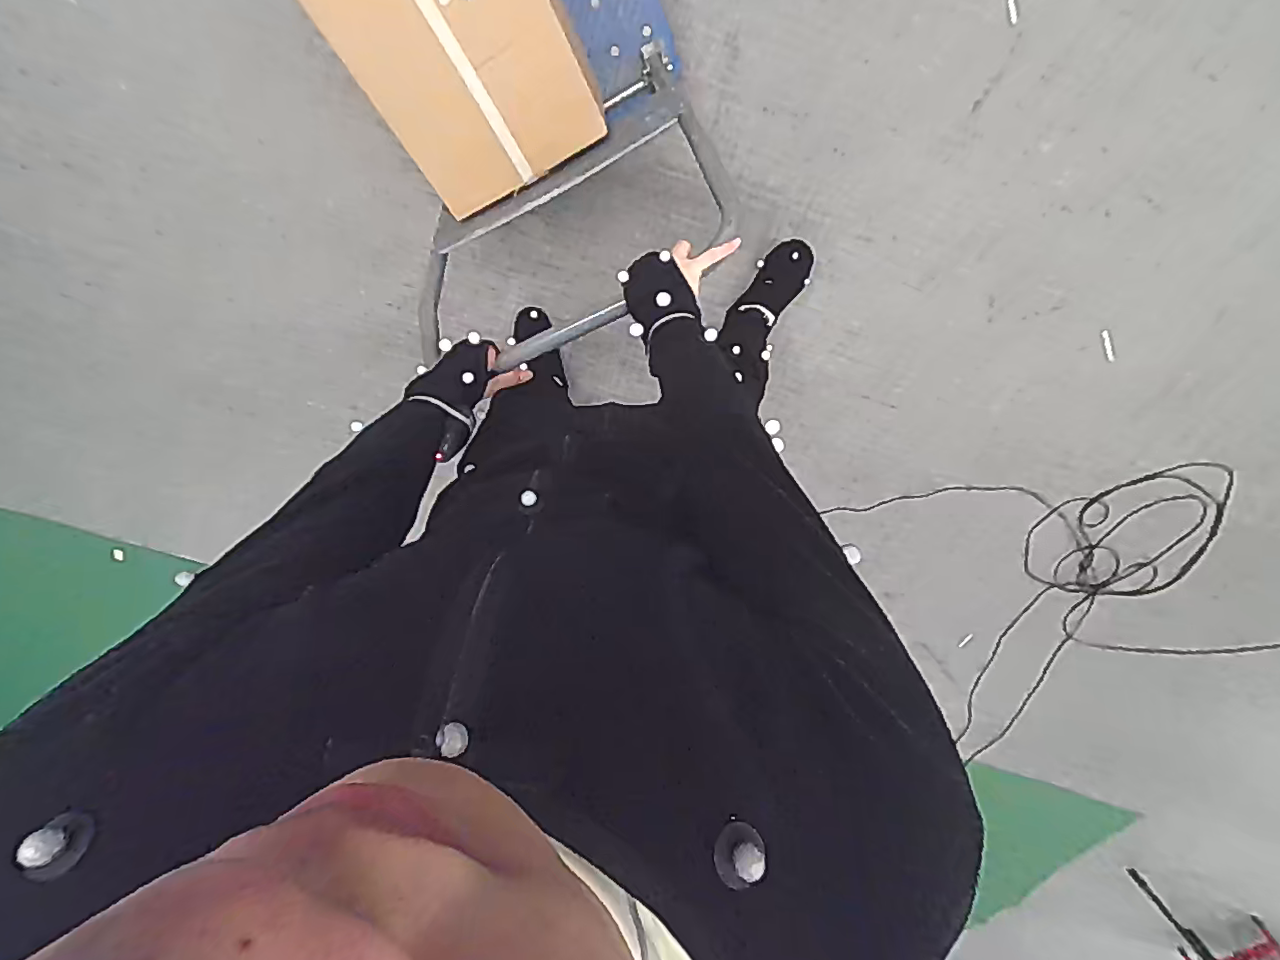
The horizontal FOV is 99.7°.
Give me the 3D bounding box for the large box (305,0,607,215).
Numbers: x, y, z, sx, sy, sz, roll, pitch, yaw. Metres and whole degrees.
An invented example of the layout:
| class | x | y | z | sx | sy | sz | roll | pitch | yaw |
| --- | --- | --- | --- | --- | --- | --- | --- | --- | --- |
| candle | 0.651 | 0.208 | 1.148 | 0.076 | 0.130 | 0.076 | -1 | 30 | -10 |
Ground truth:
| class | x | y | z | sx | sy | sz | roll | pitch | yaw |
| --- | --- | --- | --- | --- | --- | --- | --- | --- | --- |
| large box | -0.286 | -0.759 | 0.918 | 0.320 | 0.320 | 0.408 | -22 | 134 | 15 |
